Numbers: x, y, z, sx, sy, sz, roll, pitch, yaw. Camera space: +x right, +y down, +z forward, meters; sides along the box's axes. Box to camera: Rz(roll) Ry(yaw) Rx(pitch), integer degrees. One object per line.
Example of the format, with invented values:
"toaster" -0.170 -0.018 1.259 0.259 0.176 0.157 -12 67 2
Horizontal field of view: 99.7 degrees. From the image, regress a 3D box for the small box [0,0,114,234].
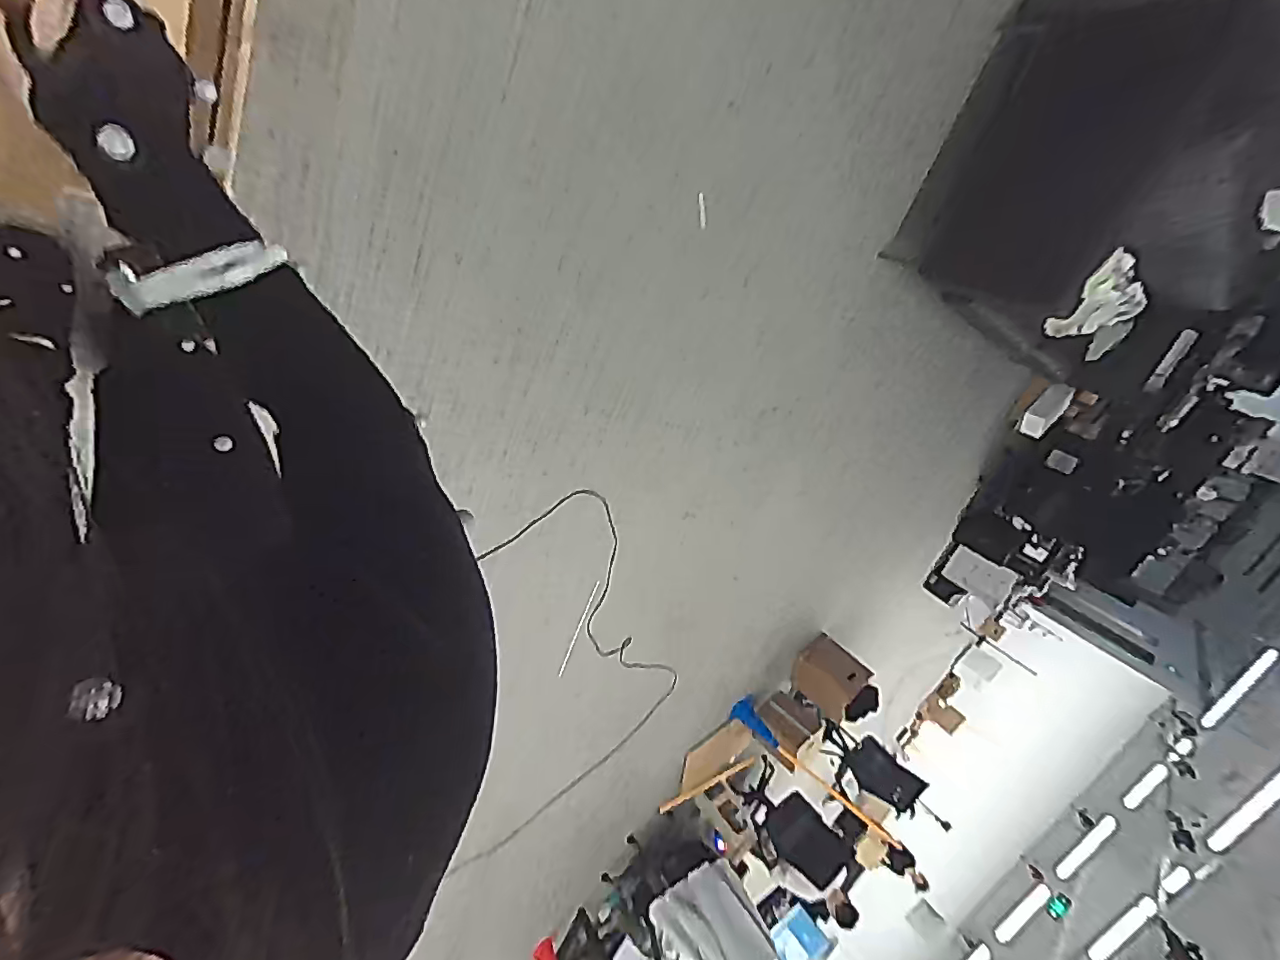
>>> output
"small box" -0.452 -0.300 0.332 0.168 0.176 0.179 12 127 -47
